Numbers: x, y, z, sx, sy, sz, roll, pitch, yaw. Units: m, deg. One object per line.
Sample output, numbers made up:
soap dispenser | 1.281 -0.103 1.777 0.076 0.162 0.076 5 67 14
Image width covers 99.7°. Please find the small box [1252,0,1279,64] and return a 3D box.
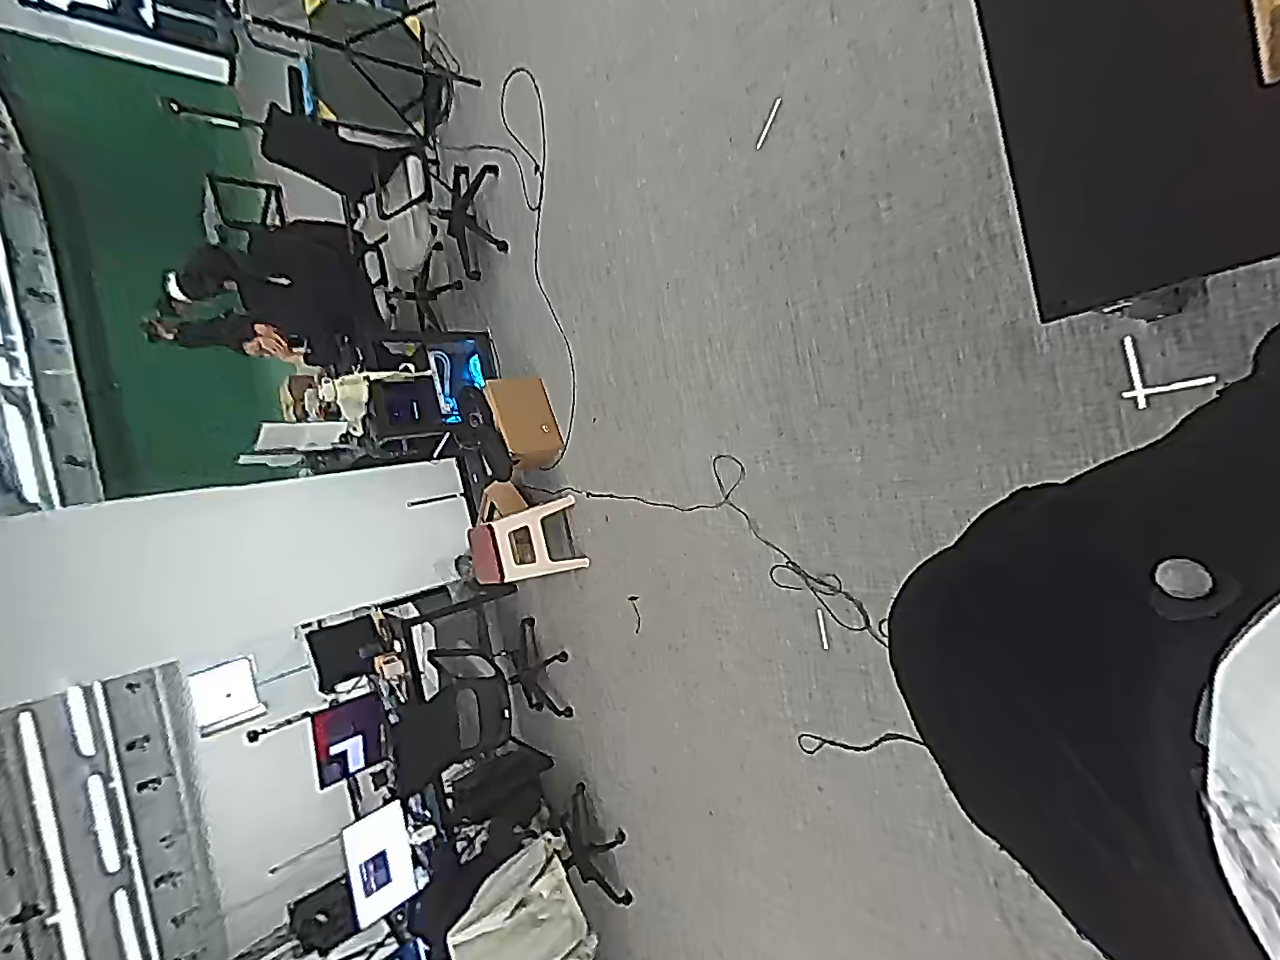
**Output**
small box | 0.543 -0.440 0.369 0.179 0.176 0.168 -10 92 50
